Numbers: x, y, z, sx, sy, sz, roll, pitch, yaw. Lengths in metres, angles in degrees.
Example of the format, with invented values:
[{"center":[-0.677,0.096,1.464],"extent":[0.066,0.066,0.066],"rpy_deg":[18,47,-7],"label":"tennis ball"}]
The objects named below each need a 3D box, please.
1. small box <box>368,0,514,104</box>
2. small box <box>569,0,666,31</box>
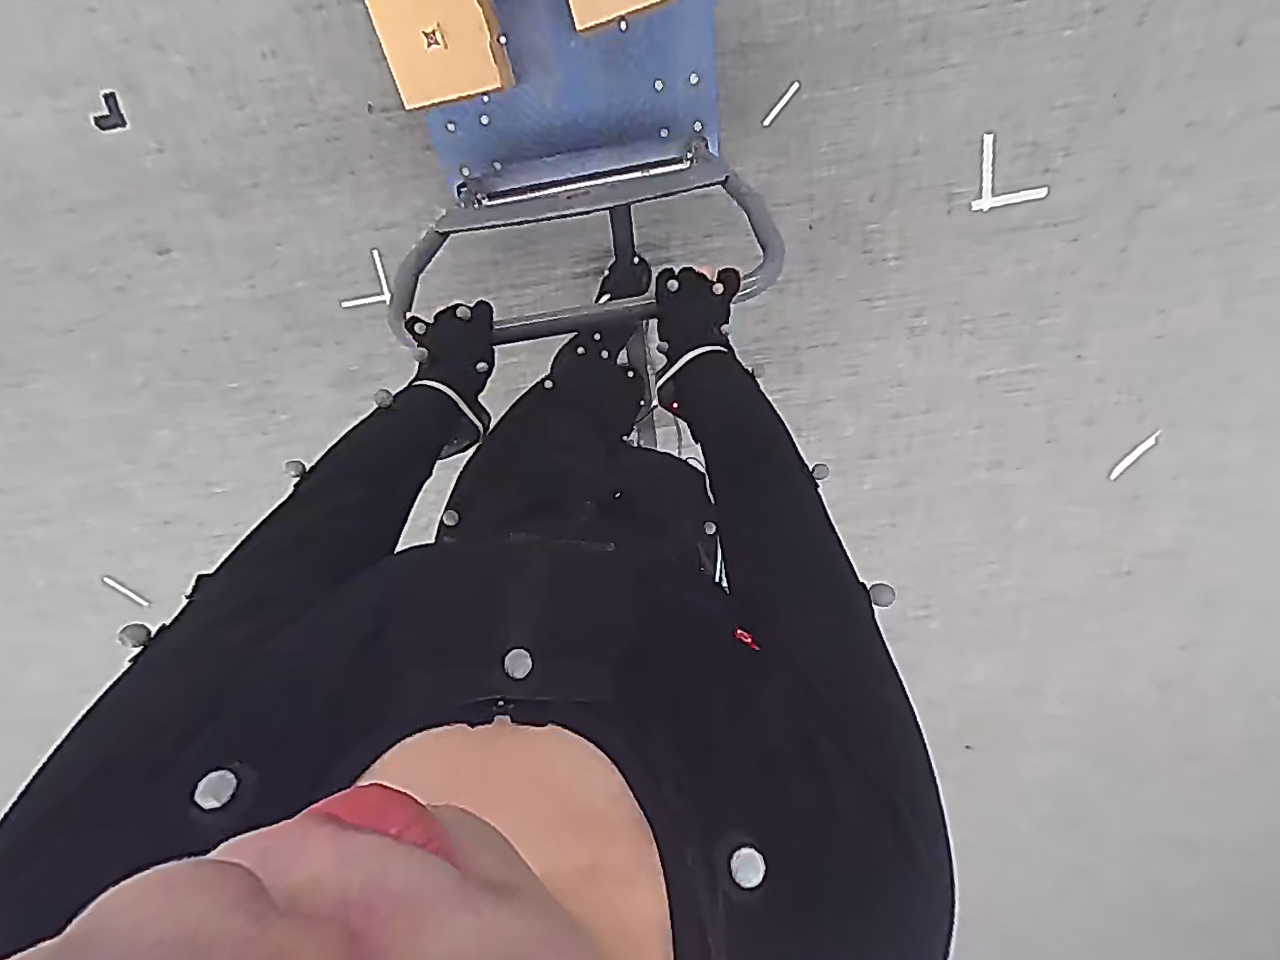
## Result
[{"center":[-0.335,-0.768,0.937],"extent":[0.179,0.176,0.168],"rpy_deg":[-12,125,4],"label":"small box"},{"center":[-0.044,-0.864,0.881],"extent":[0.179,0.176,0.168],"rpy_deg":[-14,125,7],"label":"small box"}]
